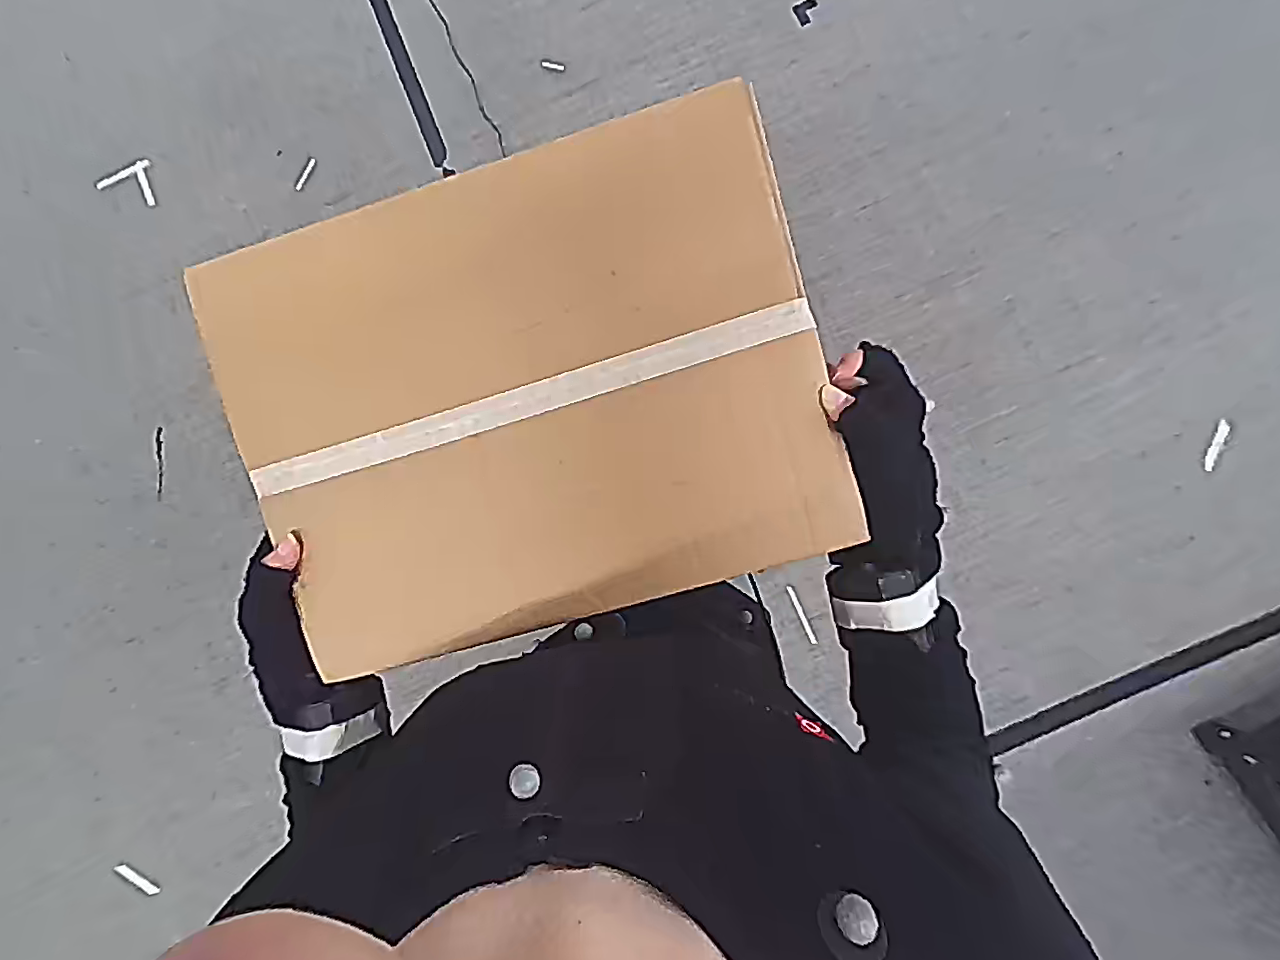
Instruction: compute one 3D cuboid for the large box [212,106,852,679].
[{"bbox_3d":[-0.070,-0.062,0.532,0.408,0.320,0.320,-16,93,6],"label":"large box"}]
